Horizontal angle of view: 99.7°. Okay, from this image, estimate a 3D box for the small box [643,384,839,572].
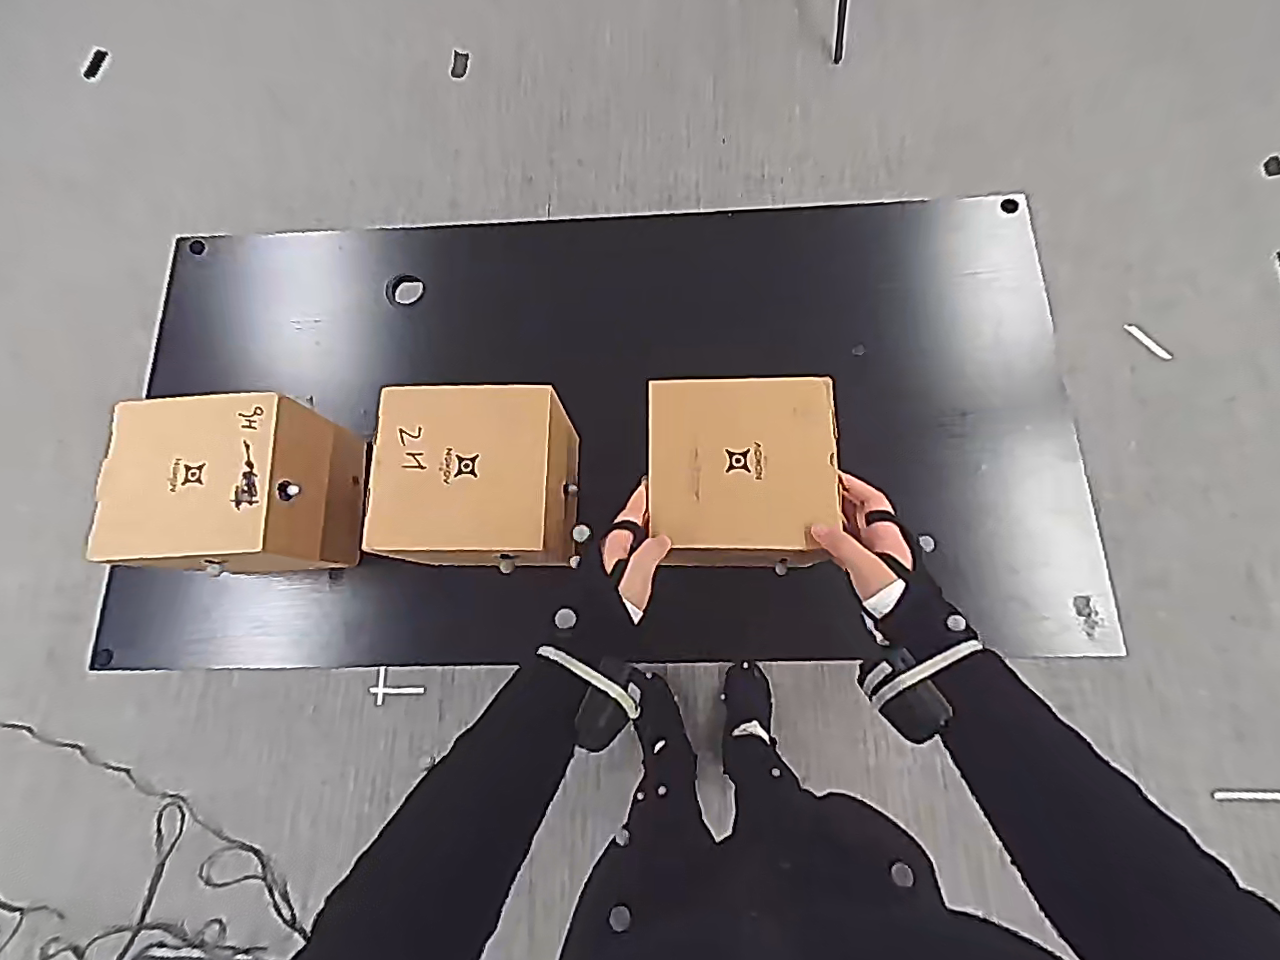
[{"bbox_3d":[0.098,0.007,0.579,0.179,0.176,0.168,-1,75,6],"label":"small box"}]

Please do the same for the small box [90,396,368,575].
[{"bbox_3d":[-0.444,0.017,0.614,0.179,0.176,0.168,-4,76,3],"label":"small box"}]

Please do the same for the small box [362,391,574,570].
[{"bbox_3d":[-0.171,0.009,0.600,0.179,0.176,0.168,0,76,3],"label":"small box"}]
